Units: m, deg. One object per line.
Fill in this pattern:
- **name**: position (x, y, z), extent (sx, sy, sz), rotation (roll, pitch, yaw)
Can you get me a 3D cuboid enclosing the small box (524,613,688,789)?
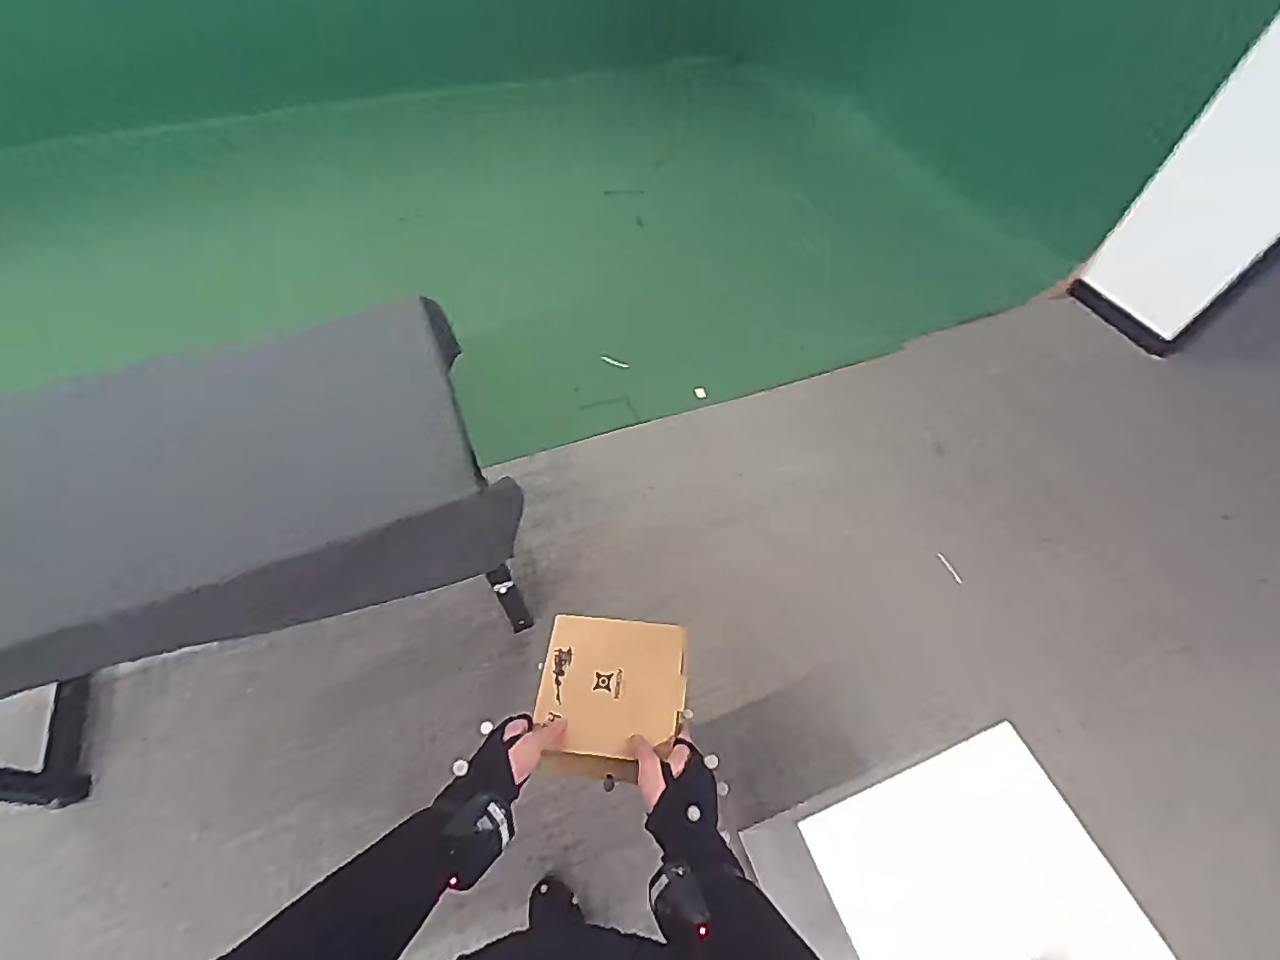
- **small box**: position (-0.035, 0.293, 0.707), extent (0.179, 0.176, 0.168), rotation (5, 52, 4)
